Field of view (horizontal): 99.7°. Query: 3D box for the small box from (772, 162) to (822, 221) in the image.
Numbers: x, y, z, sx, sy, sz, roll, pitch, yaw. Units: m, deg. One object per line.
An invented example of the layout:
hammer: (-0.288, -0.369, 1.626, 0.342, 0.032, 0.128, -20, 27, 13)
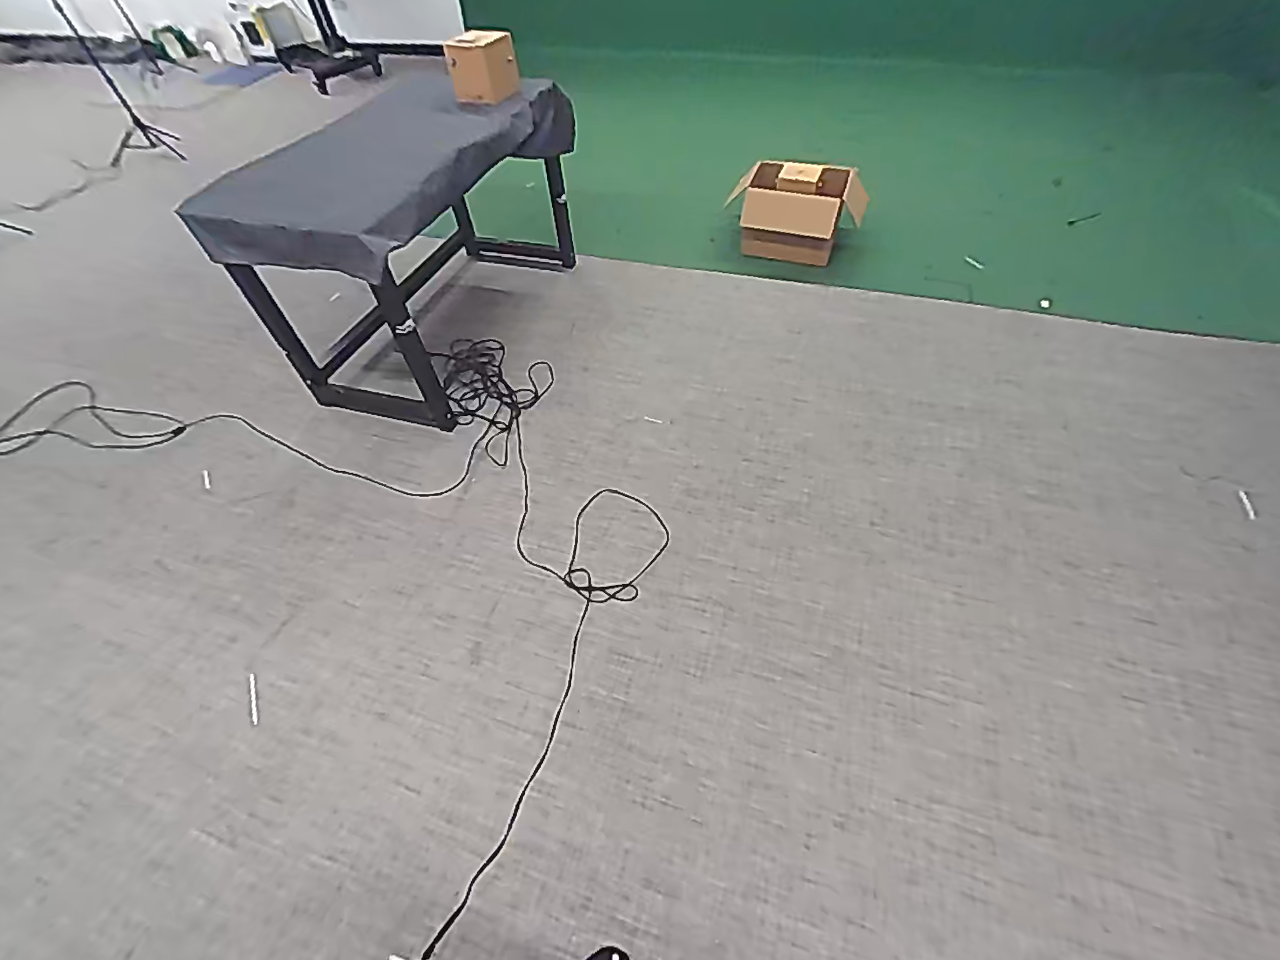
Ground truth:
small box: (0.691, -1.272, 2.386, 0.168, 0.176, 0.179, 16, 53, 15)
